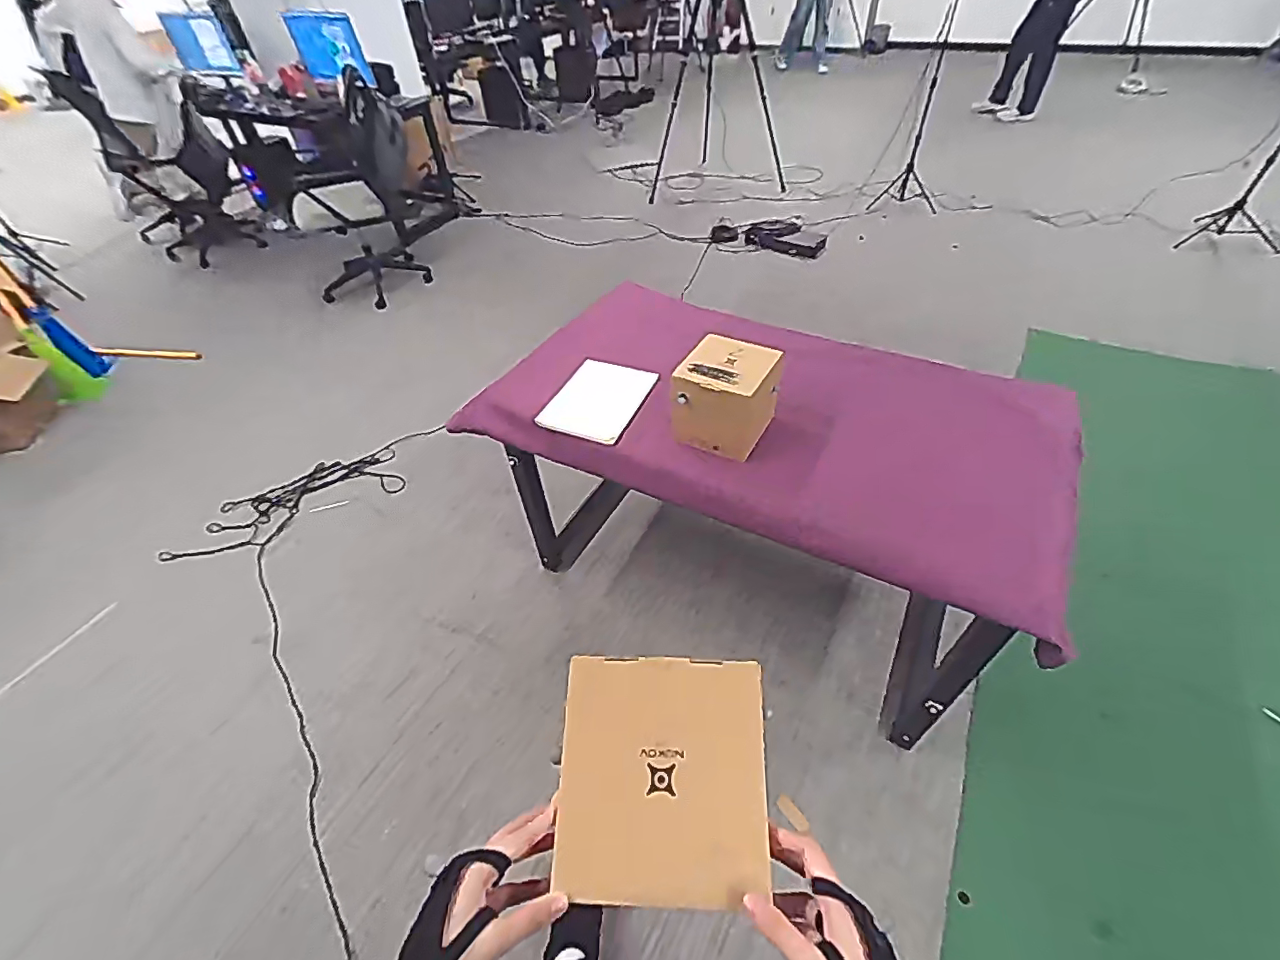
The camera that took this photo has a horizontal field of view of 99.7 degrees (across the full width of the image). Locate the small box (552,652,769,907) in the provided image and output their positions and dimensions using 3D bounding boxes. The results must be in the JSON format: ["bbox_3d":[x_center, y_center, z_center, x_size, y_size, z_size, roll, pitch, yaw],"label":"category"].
[{"bbox_3d":[0.023,0.266,0.506,0.168,0.176,0.179,1,63,3],"label":"small box"}]
